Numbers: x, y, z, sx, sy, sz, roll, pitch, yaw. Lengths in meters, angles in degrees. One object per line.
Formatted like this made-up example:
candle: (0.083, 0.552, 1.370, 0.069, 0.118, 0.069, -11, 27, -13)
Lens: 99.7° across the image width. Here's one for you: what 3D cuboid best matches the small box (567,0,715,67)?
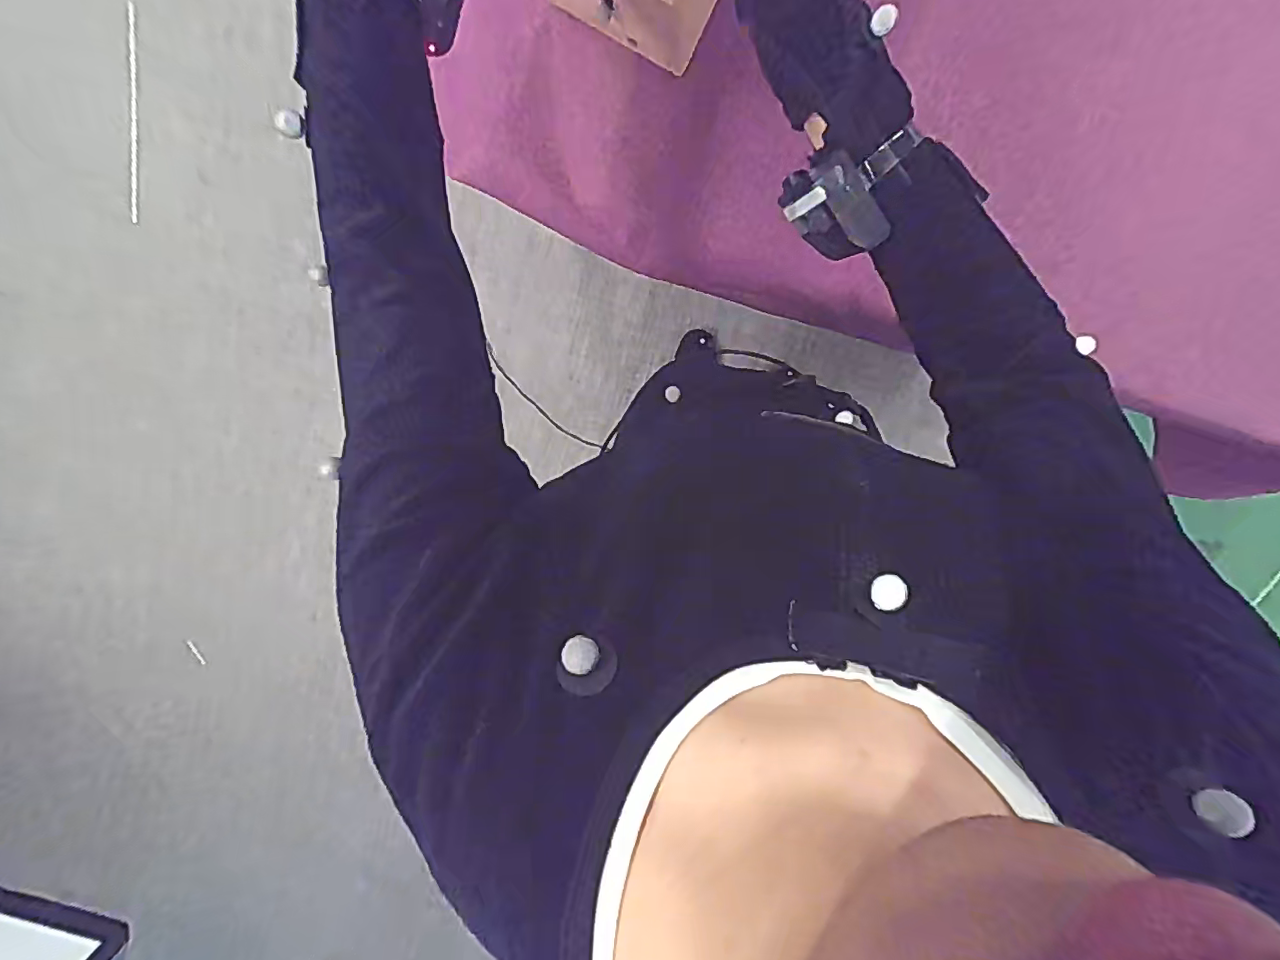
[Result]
small box: (0.008, -0.531, 0.492, 0.168, 0.176, 0.179, 27, 108, -5)
